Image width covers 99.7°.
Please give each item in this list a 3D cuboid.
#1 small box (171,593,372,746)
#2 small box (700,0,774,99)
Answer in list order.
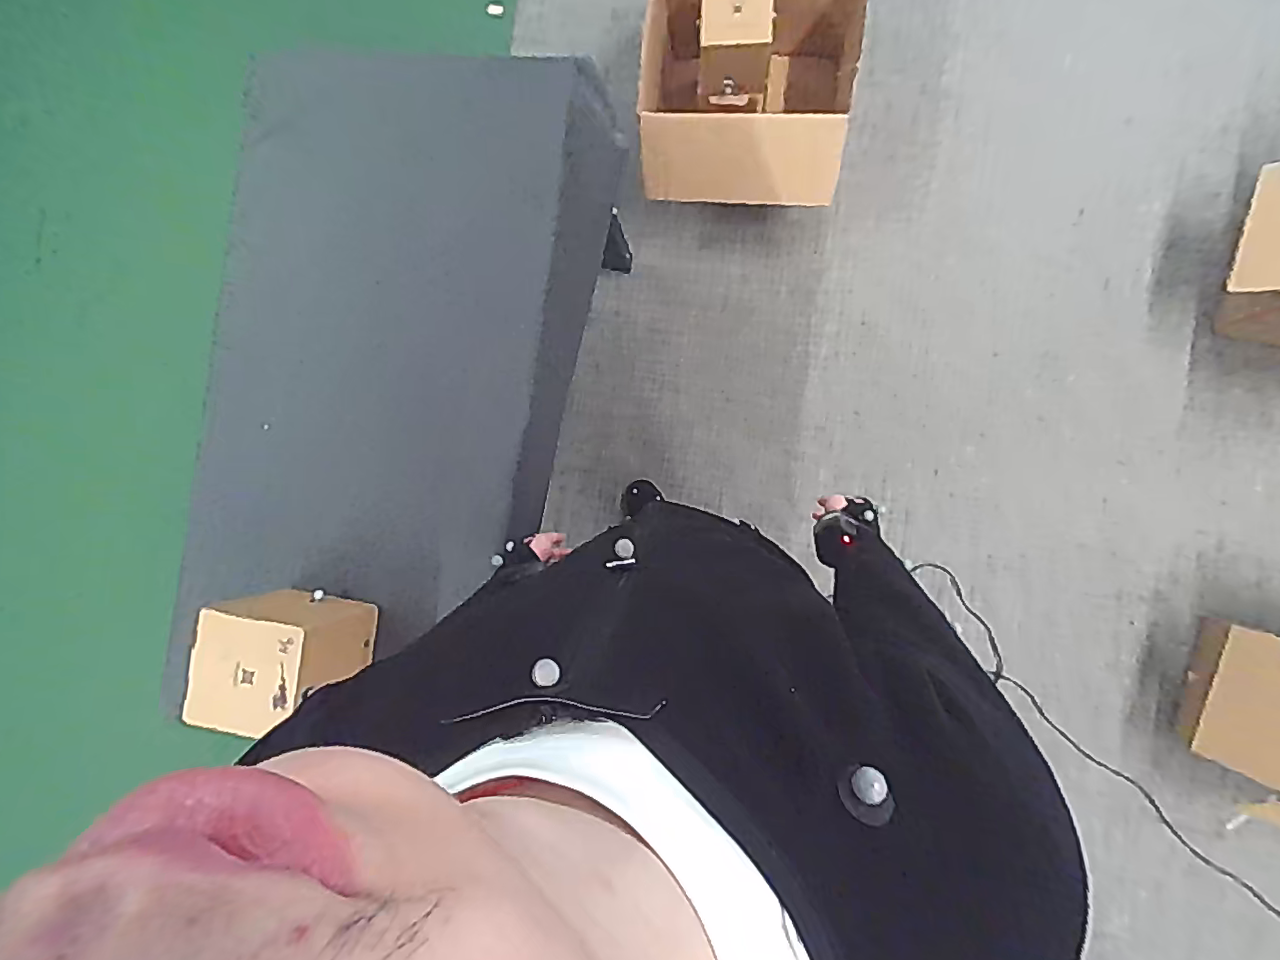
[{"bbox_3d":[-0.553,0.276,0.831,0.179,0.176,0.168,8,88,9],"label":"small box"},{"bbox_3d":[0.232,-1.077,1.323,0.168,0.176,0.179,1,89,6],"label":"small box"}]
